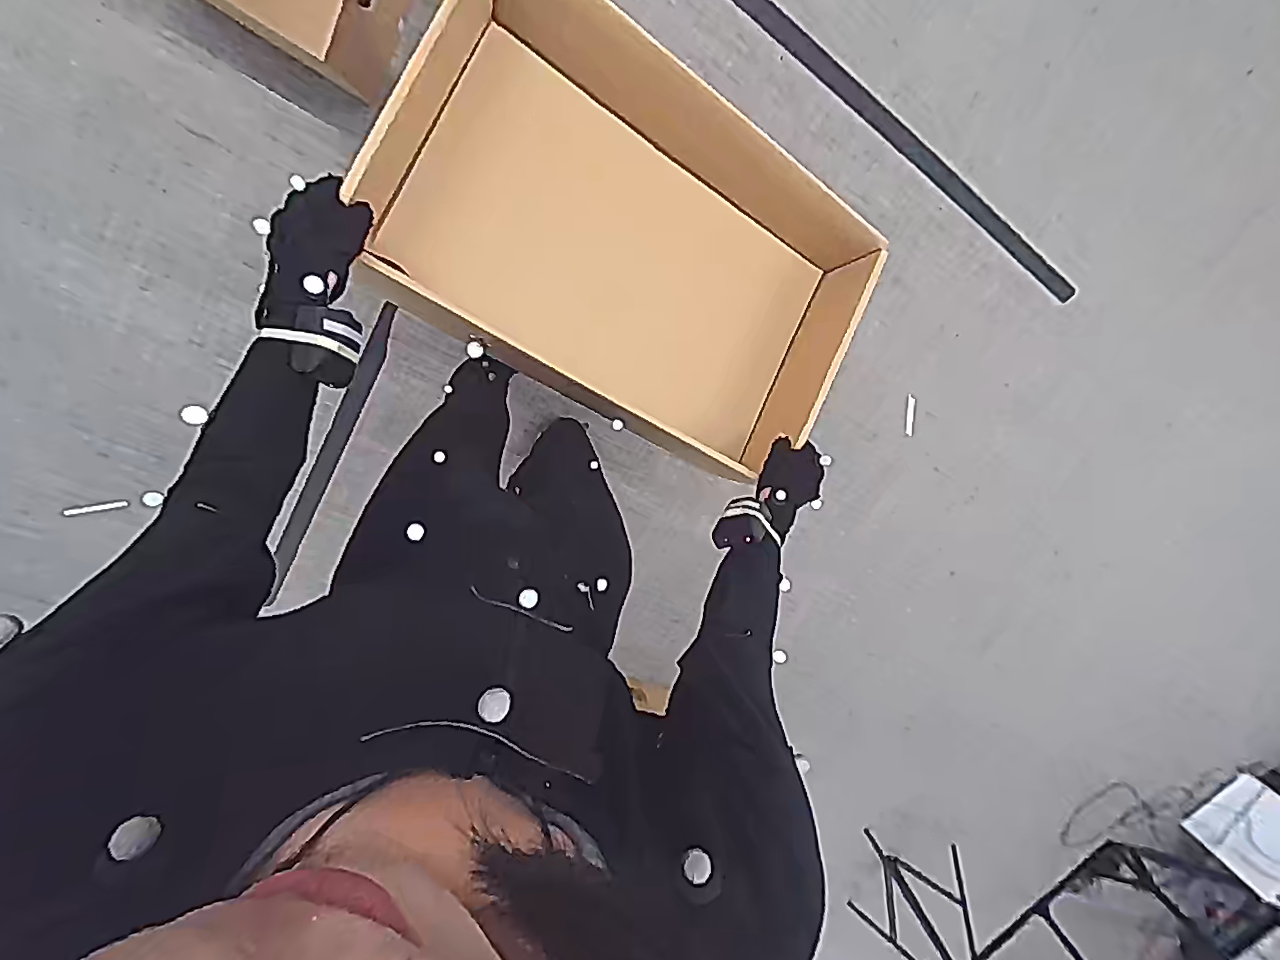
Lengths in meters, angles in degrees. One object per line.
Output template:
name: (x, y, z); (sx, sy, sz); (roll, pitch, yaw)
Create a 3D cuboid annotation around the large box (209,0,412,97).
large box: (-0.602, -0.912, 0.857); (0.408, 0.320, 0.320); (24, 108, -21)
